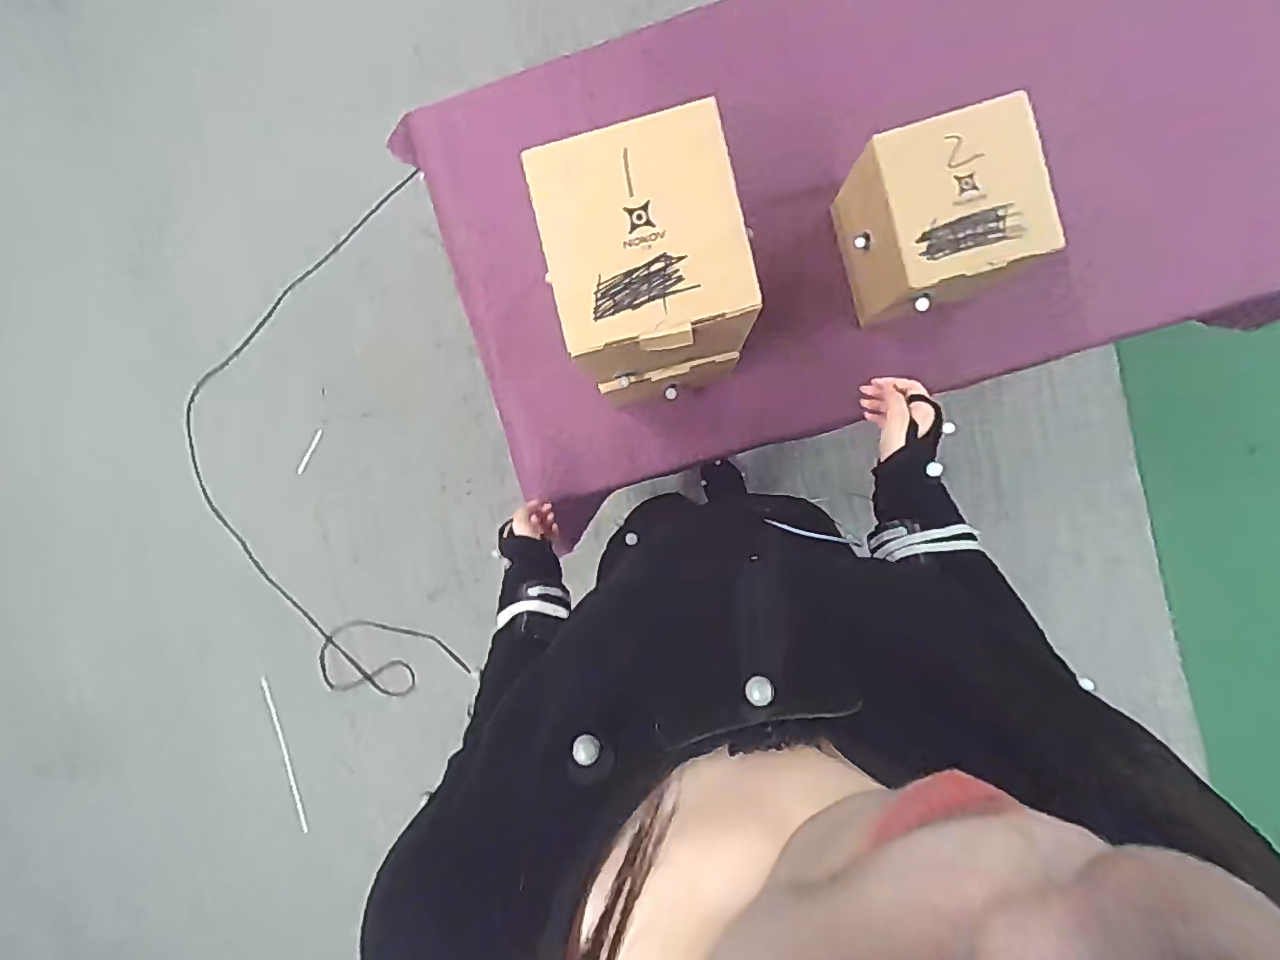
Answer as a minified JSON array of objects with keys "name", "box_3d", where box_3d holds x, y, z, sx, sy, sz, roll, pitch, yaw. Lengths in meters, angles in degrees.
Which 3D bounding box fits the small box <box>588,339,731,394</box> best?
[{"name":"small box","box_3d":[0.011,-0.212,0.686,0.168,0.176,0.179,-14,93,3]}]

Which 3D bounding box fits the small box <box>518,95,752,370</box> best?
[{"name":"small box","box_3d":[0.001,-0.212,0.522,0.168,0.176,0.179,-13,91,3]}]
